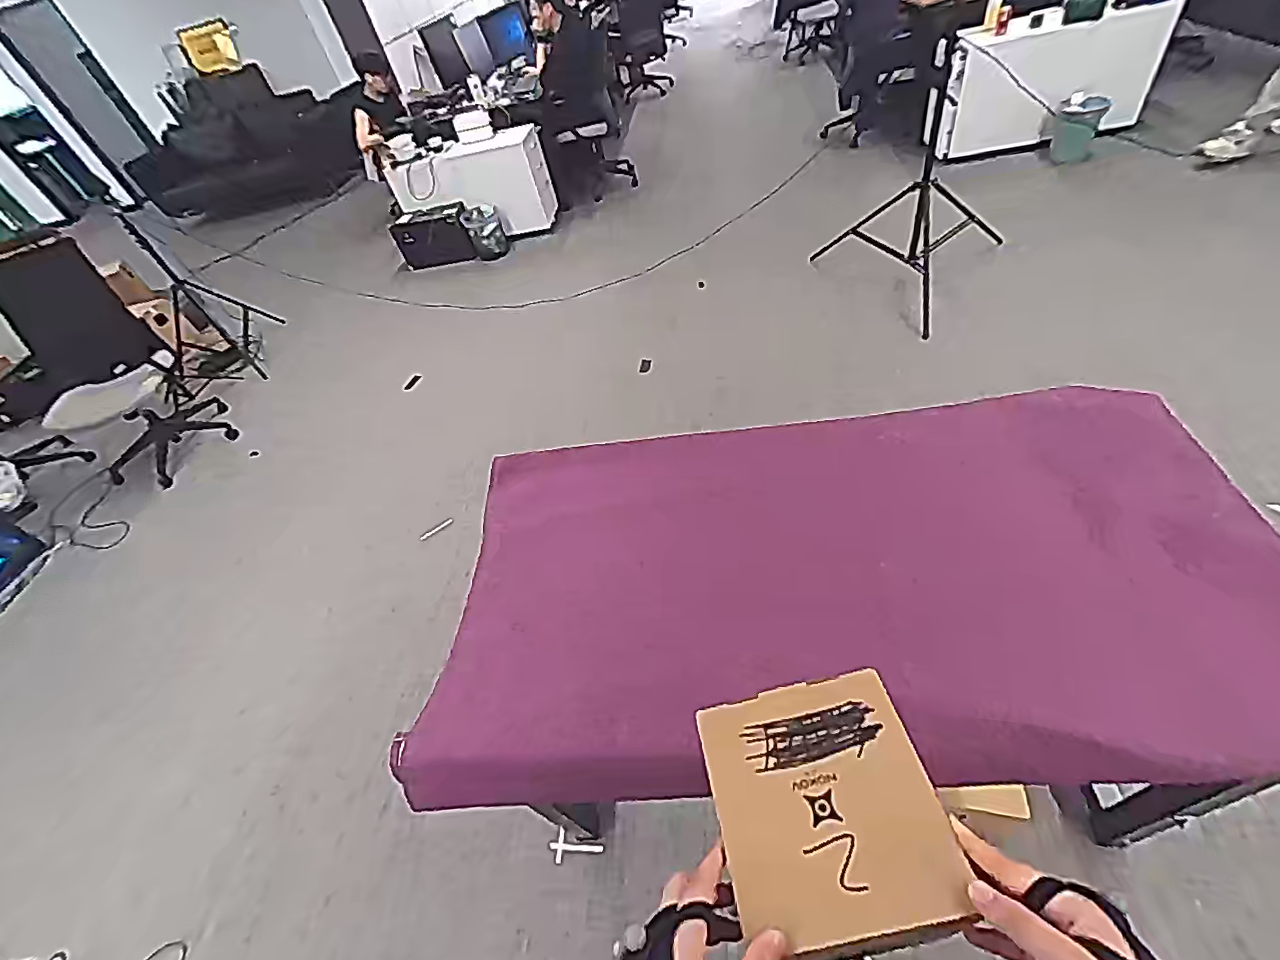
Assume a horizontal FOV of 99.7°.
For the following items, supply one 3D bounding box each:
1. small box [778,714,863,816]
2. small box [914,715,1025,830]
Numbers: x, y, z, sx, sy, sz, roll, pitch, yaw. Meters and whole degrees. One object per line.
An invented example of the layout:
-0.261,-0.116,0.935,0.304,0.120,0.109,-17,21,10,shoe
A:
0.413,0.664,1.255,0.168,0.176,0.179,-3,47,12,small box
0.714,0.647,1.192,0.168,0.176,0.179,1,48,17,small box
